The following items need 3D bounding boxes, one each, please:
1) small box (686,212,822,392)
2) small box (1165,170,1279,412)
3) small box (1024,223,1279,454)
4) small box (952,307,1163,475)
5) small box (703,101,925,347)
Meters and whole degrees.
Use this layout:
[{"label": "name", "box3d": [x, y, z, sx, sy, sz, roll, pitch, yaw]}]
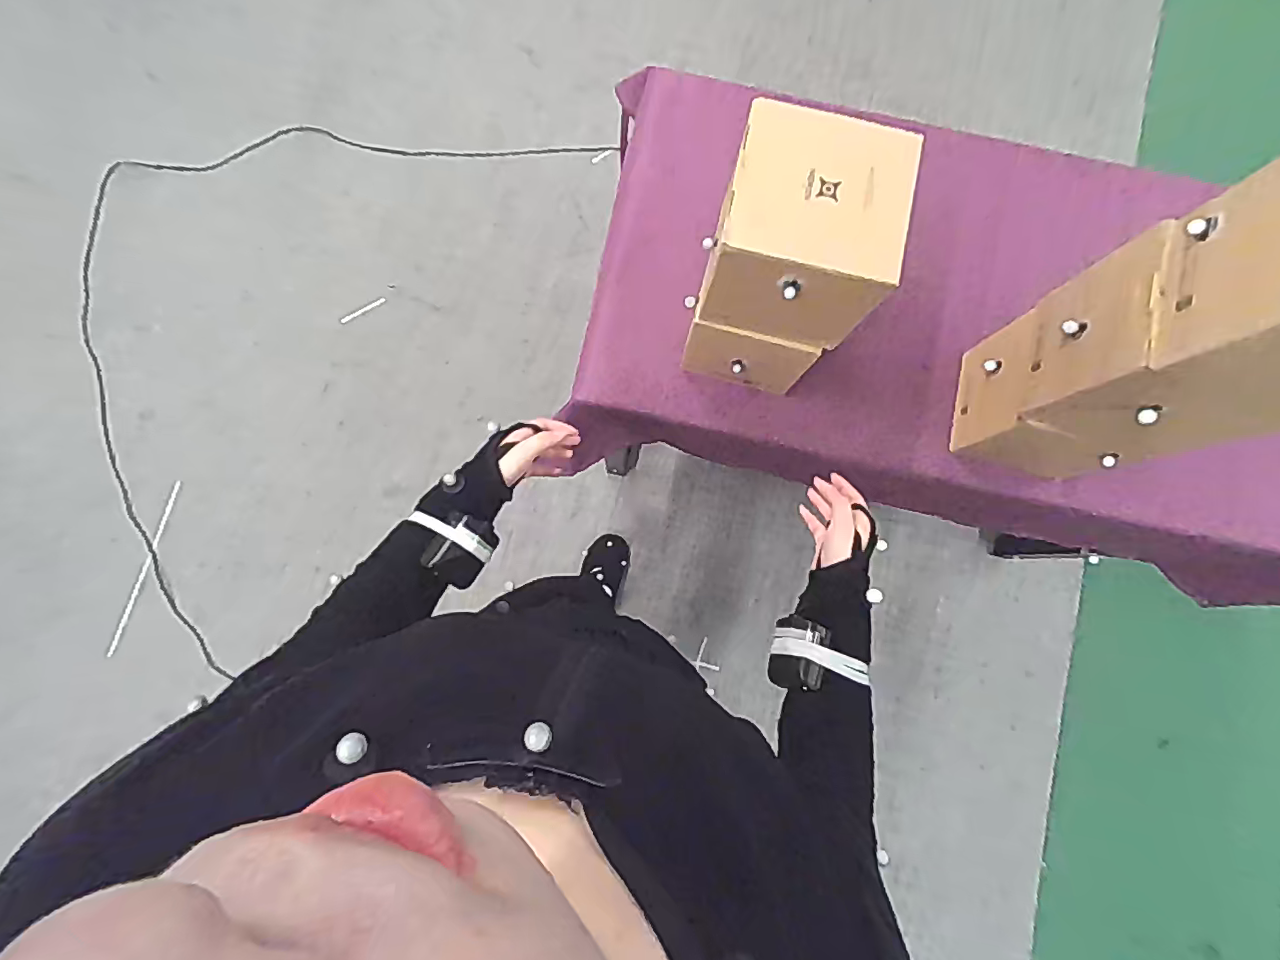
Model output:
[{"label": "small box", "box3d": [0.166, -0.243, 0.762, 0.168, 0.176, 0.179, 16, 81, 0]}, {"label": "small box", "box3d": [0.585, -0.160, 0.431, 0.179, 0.176, 0.168, 18, 81, 0]}, {"label": "small box", "box3d": [0.571, -0.139, 0.594, 0.179, 0.176, 0.168, 18, 81, 1]}, {"label": "small box", "box3d": [0.573, -0.112, 0.756, 0.179, 0.176, 0.168, 14, 81, 0]}, {"label": "small box", "box3d": [0.176, -0.266, 0.601, 0.179, 0.176, 0.168, 14, 82, 0]}]
